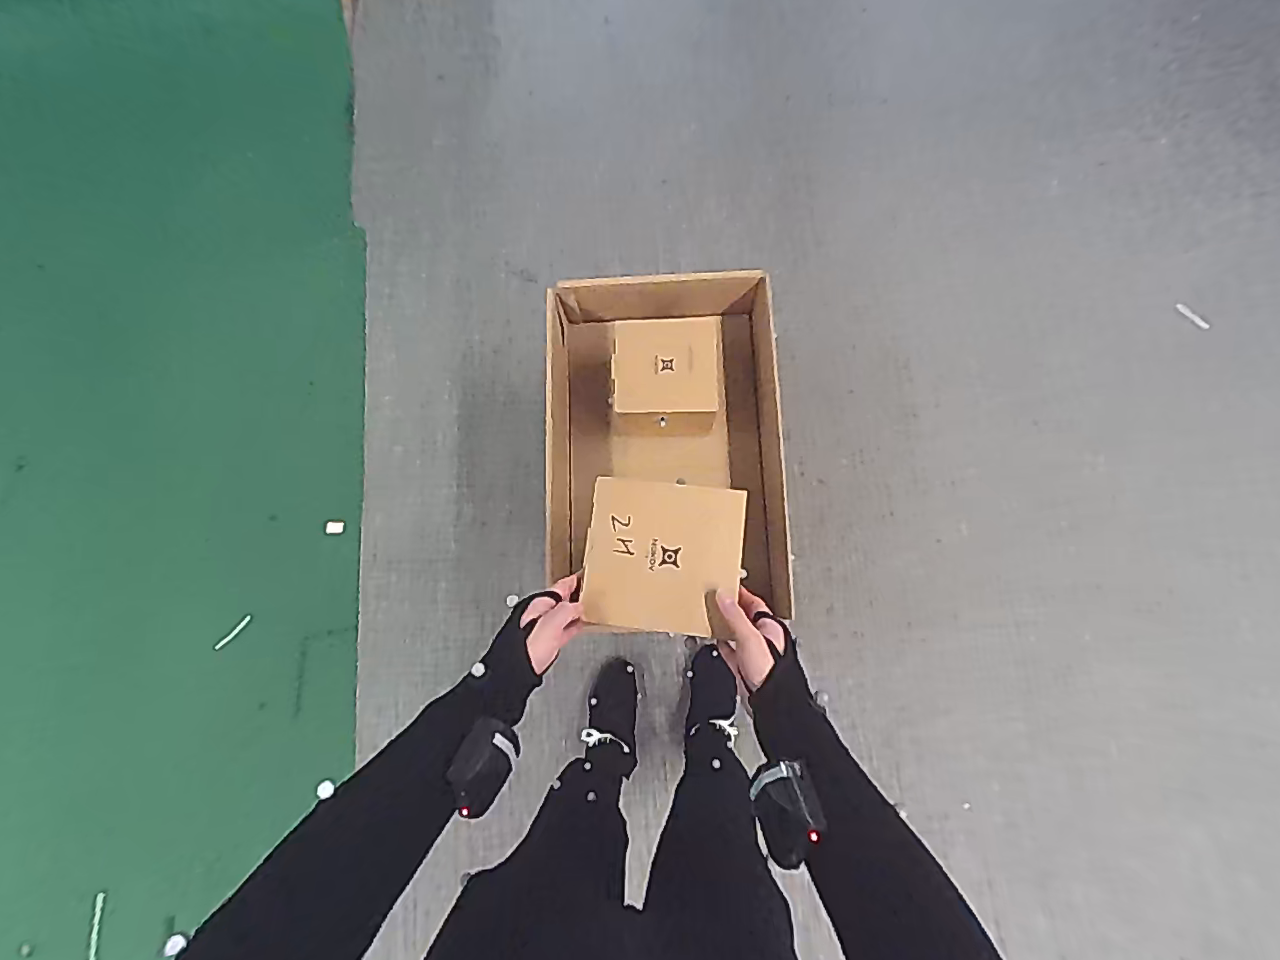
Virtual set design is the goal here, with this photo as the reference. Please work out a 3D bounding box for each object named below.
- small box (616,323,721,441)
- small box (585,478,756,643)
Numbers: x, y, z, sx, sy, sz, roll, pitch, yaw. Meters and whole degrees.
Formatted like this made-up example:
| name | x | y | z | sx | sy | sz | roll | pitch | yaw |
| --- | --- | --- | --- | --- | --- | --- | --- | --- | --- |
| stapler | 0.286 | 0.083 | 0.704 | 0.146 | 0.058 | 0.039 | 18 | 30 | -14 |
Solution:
| name | x | y | z | sx | sy | sz | roll | pitch | yaw |
| --- | --- | --- | --- | --- | --- | --- | --- | --- | --- |
| small box | 0.051 | -0.170 | 0.981 | 0.179 | 0.176 | 0.168 | 1 | 80 | 1 |
| small box | 0.040 | 0.103 | 0.680 | 0.179 | 0.176 | 0.168 | 7 | 78 | 6 |
